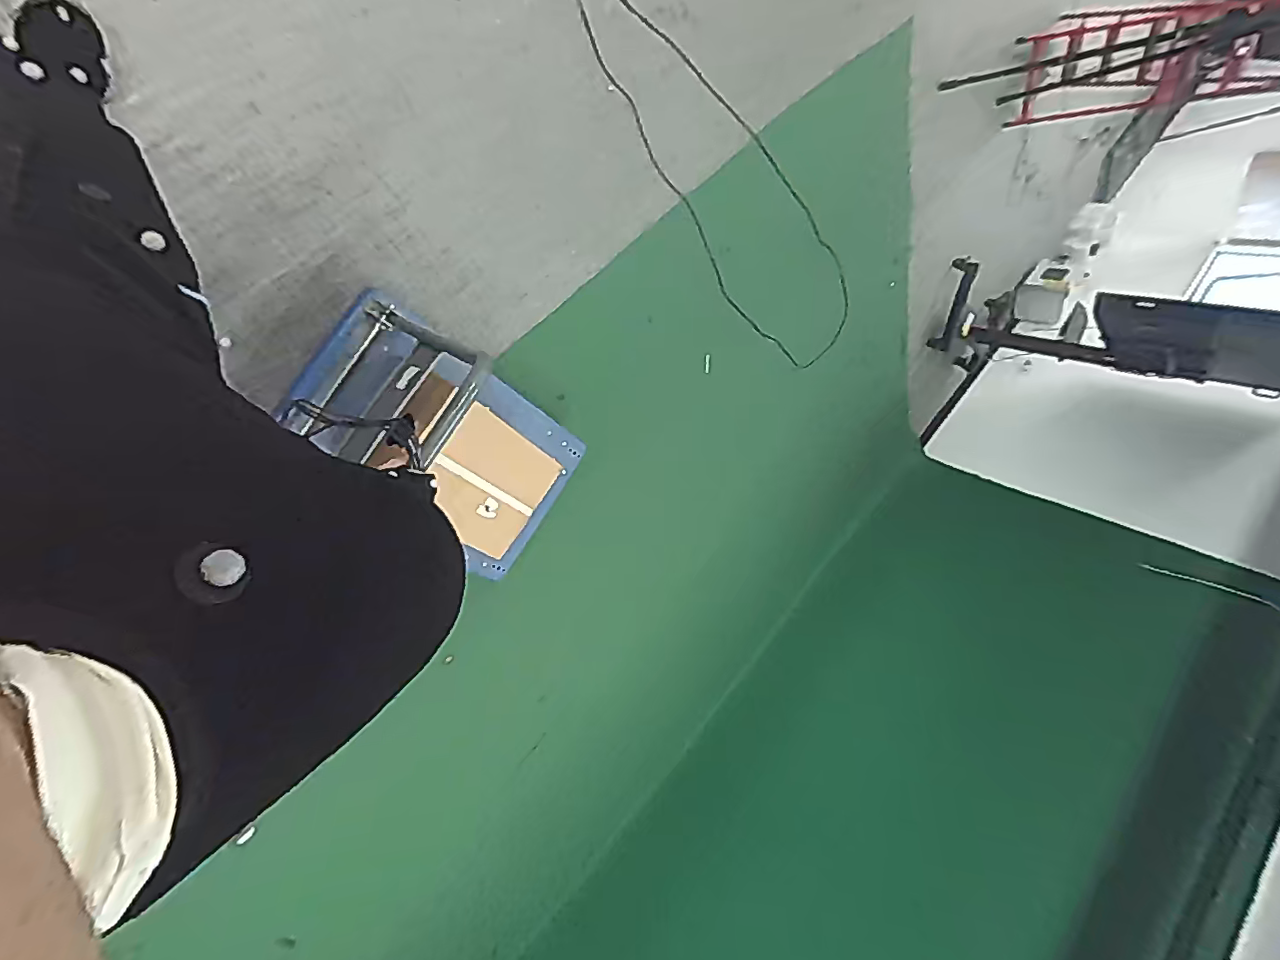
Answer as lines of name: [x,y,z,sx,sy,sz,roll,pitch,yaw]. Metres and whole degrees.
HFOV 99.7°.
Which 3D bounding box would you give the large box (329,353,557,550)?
large box: [-0.510,-0.072,1.430,0.320,0.320,0.408,-55,140,-6]
